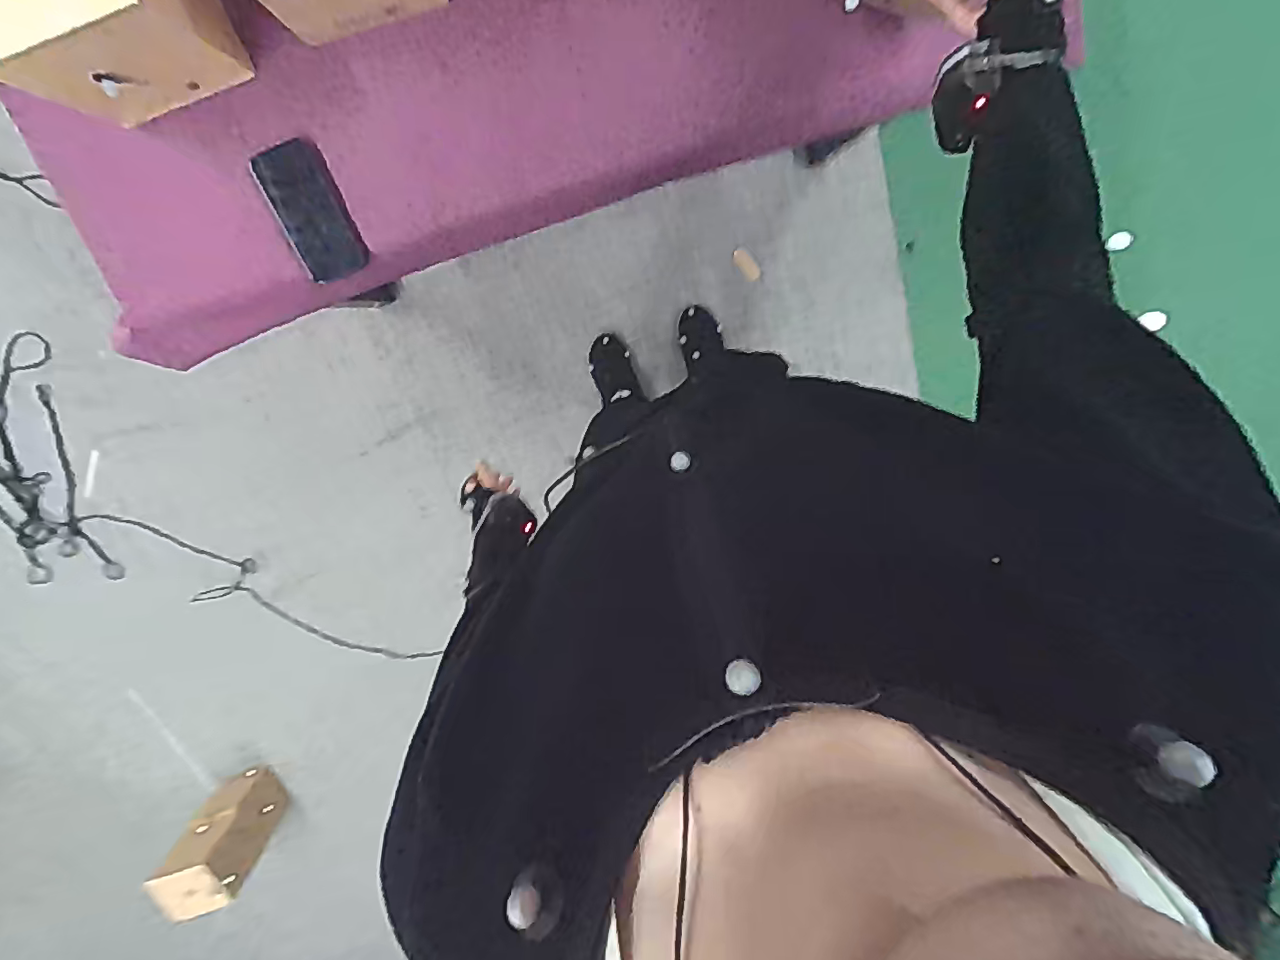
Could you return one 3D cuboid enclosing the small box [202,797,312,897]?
[{"bbox_3d":[-1.147,1.103,1.634,0.179,0.176,0.168,-20,110,6],"label":"small box"}]

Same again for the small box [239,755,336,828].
[{"bbox_3d":[-1.156,1.043,1.786,0.168,0.176,0.179,-21,110,6],"label":"small box"}]

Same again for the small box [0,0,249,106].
[{"bbox_3d":[-0.522,-0.482,0.499,0.168,0.176,0.179,-22,108,6],"label":"small box"}]
